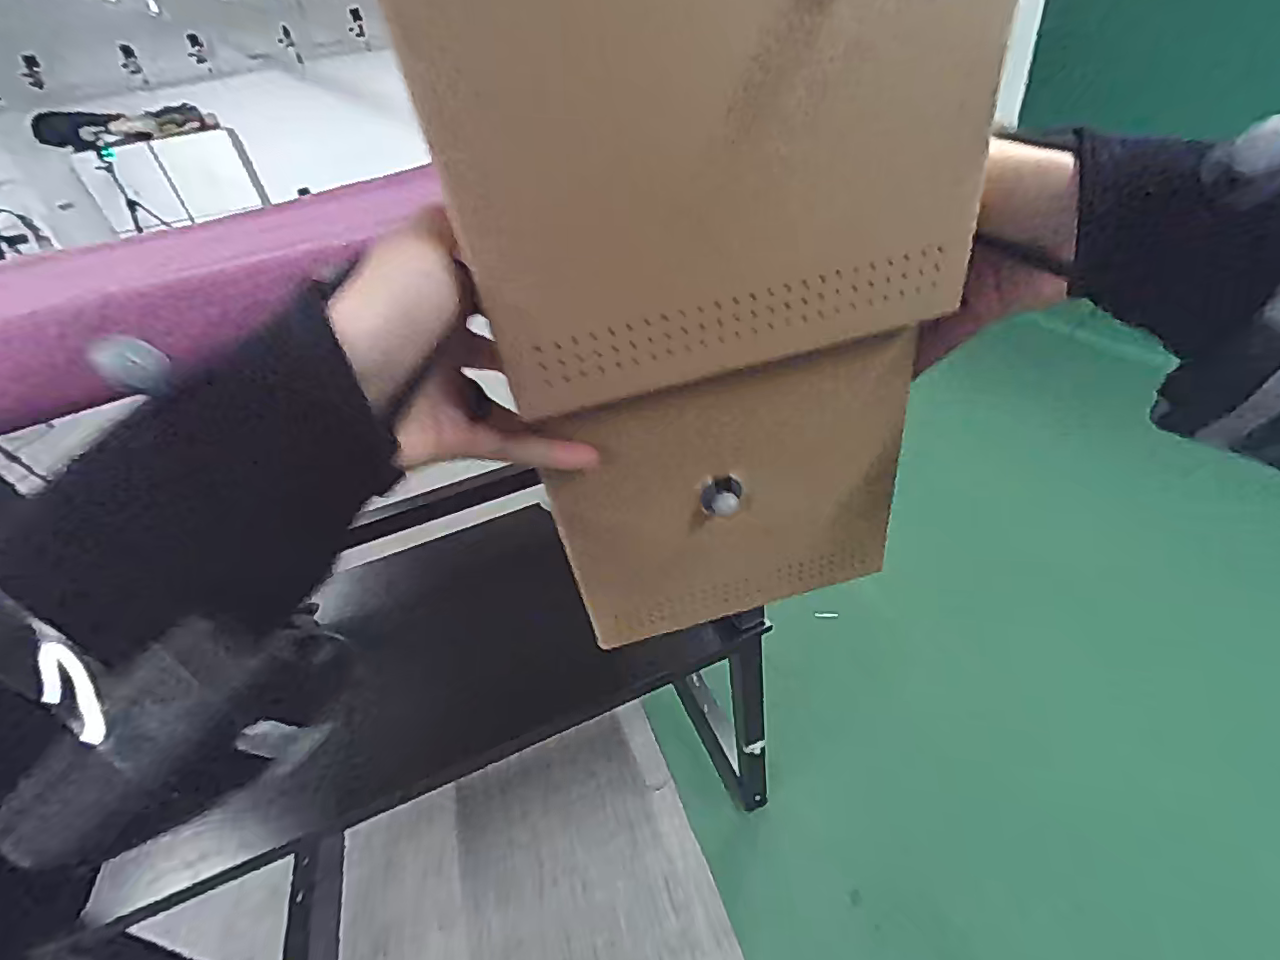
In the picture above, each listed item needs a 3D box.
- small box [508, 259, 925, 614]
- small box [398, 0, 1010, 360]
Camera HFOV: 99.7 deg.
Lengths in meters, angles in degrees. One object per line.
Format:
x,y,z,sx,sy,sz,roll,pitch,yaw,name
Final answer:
0.029,-0.049,0.324,0.179,0.176,0.168,-14,37,-4,small box
0.013,-0.168,0.211,0.179,0.176,0.168,-14,37,-4,small box
